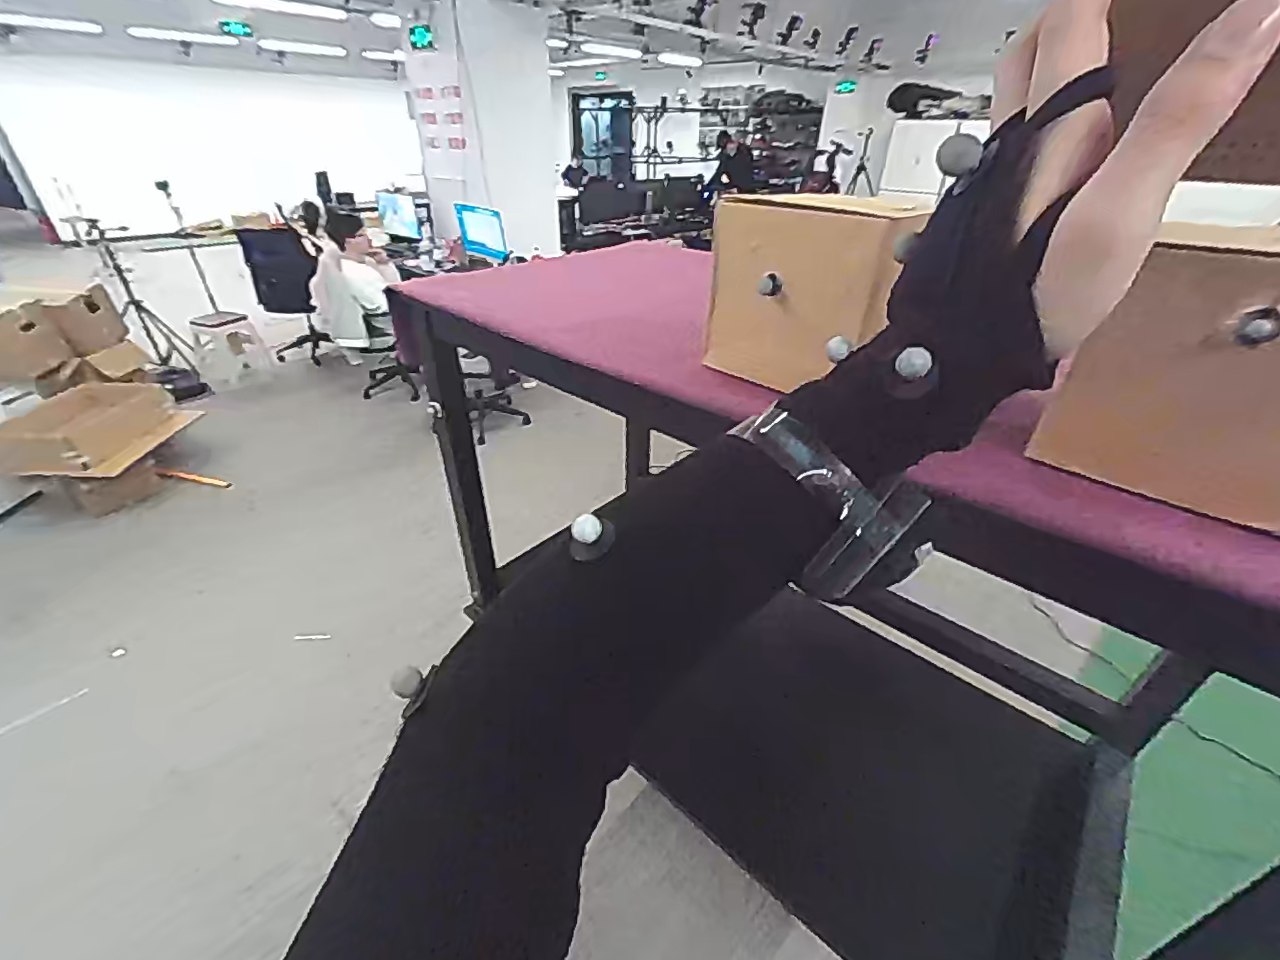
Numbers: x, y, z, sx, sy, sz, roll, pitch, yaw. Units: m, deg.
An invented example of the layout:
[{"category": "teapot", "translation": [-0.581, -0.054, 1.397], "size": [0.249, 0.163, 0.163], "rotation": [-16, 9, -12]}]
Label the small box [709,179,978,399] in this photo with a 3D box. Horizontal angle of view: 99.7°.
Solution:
[{"category": "small box", "translation": [0.185, -0.195, 0.532], "size": [0.168, 0.176, 0.179], "rotation": [-27, 42, -37]}]

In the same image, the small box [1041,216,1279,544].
[{"category": "small box", "translation": [0.418, -0.076, 0.367], "size": [0.168, 0.176, 0.179], "rotation": [-25, 41, -36]}]
